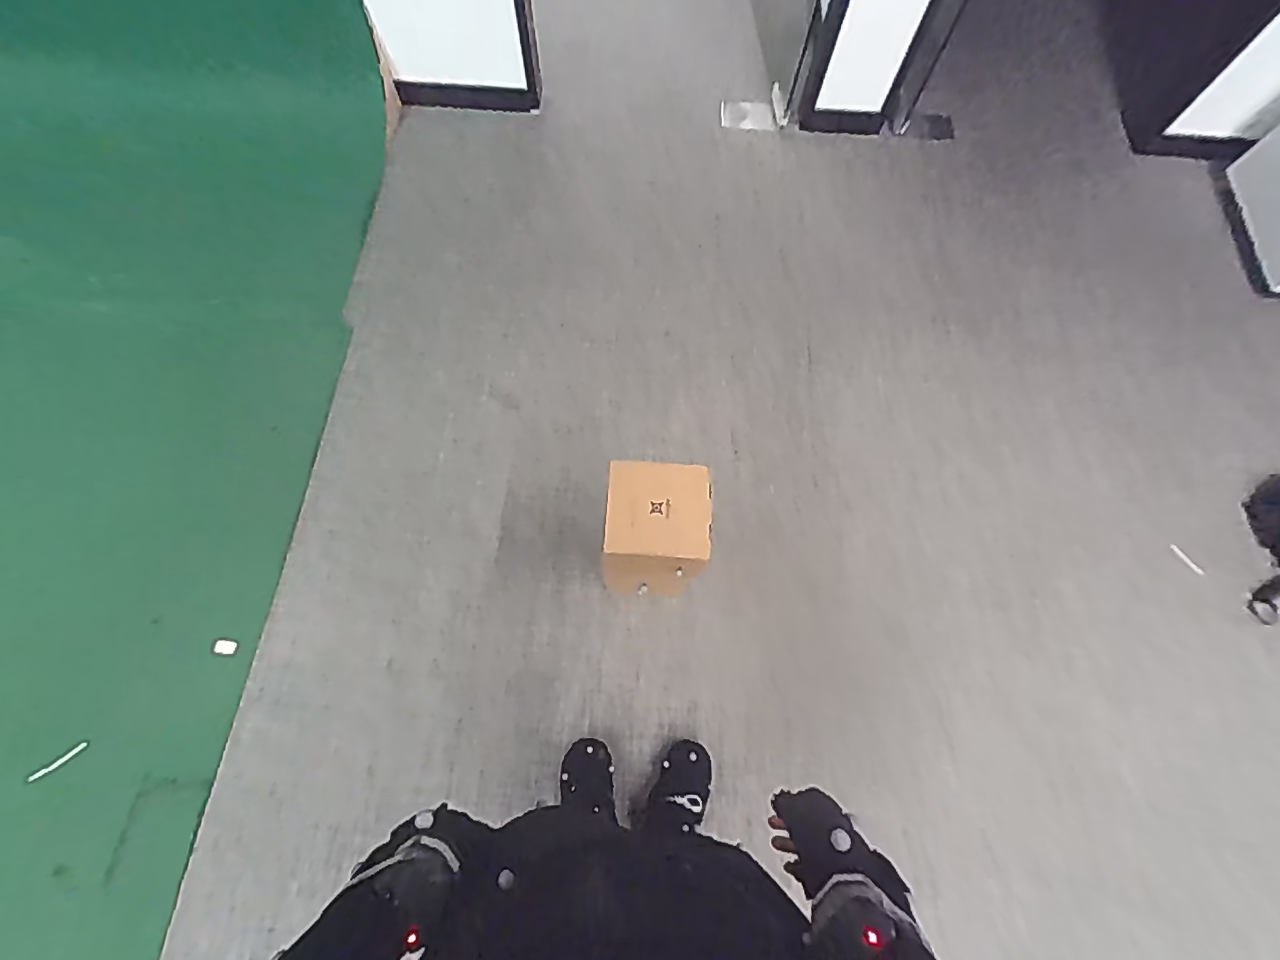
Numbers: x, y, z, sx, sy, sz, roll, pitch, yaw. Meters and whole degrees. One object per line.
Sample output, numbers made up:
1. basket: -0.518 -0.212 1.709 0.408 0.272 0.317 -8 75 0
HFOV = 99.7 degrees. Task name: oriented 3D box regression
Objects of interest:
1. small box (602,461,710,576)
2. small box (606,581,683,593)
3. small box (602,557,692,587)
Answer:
1. small box: 0.028 0.076 0.978 0.179 0.176 0.168 2 69 1
2. small box: 0.013 0.174 1.289 0.179 0.176 0.168 3 69 1
3. small box: 0.015 0.130 1.134 0.179 0.176 0.168 2 71 0
